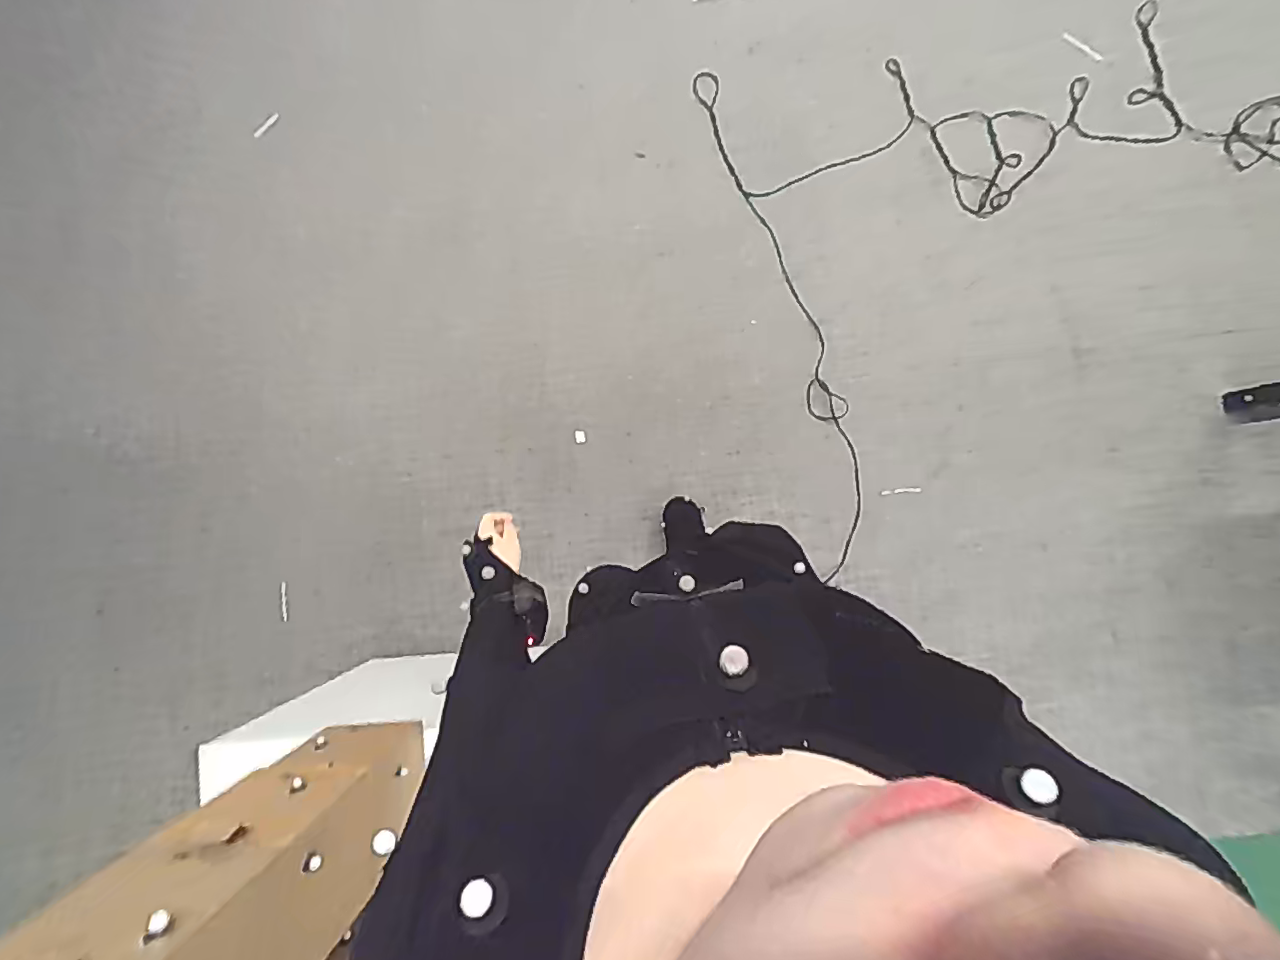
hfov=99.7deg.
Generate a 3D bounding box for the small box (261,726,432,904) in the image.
[{"bbox_3d":[-0.433,0.490,0.819,0.168,0.176,0.179,-5,88,3],"label":"small box"}]
